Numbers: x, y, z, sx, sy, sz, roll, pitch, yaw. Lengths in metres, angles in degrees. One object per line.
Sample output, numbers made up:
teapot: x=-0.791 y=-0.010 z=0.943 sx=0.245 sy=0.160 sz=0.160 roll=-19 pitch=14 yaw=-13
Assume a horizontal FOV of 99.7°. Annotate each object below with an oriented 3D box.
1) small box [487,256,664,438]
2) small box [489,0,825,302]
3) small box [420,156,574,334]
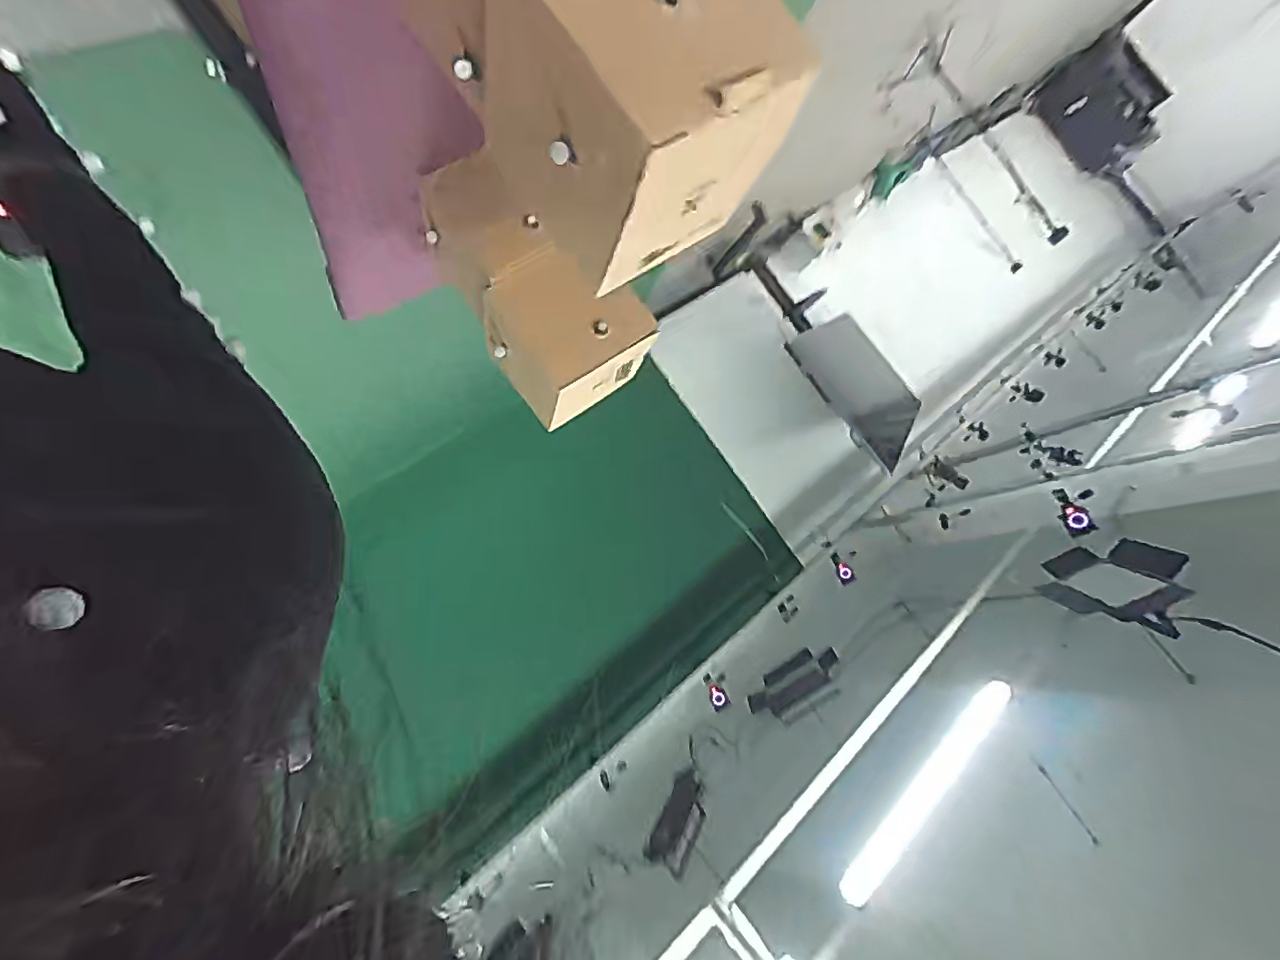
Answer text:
small box: x=-0.100 y=-0.196 z=0.787 sx=0.179 sy=0.176 sz=0.168 roll=-37 pitch=177 yaw=-20
small box: x=-0.003 y=-0.284 z=0.423 sx=0.168 sy=0.176 sz=0.179 roll=-36 pitch=177 yaw=-20
small box: x=-0.186 y=-0.337 z=0.782 sx=0.179 sy=0.176 sz=0.168 roll=-37 pitch=177 yaw=-20
